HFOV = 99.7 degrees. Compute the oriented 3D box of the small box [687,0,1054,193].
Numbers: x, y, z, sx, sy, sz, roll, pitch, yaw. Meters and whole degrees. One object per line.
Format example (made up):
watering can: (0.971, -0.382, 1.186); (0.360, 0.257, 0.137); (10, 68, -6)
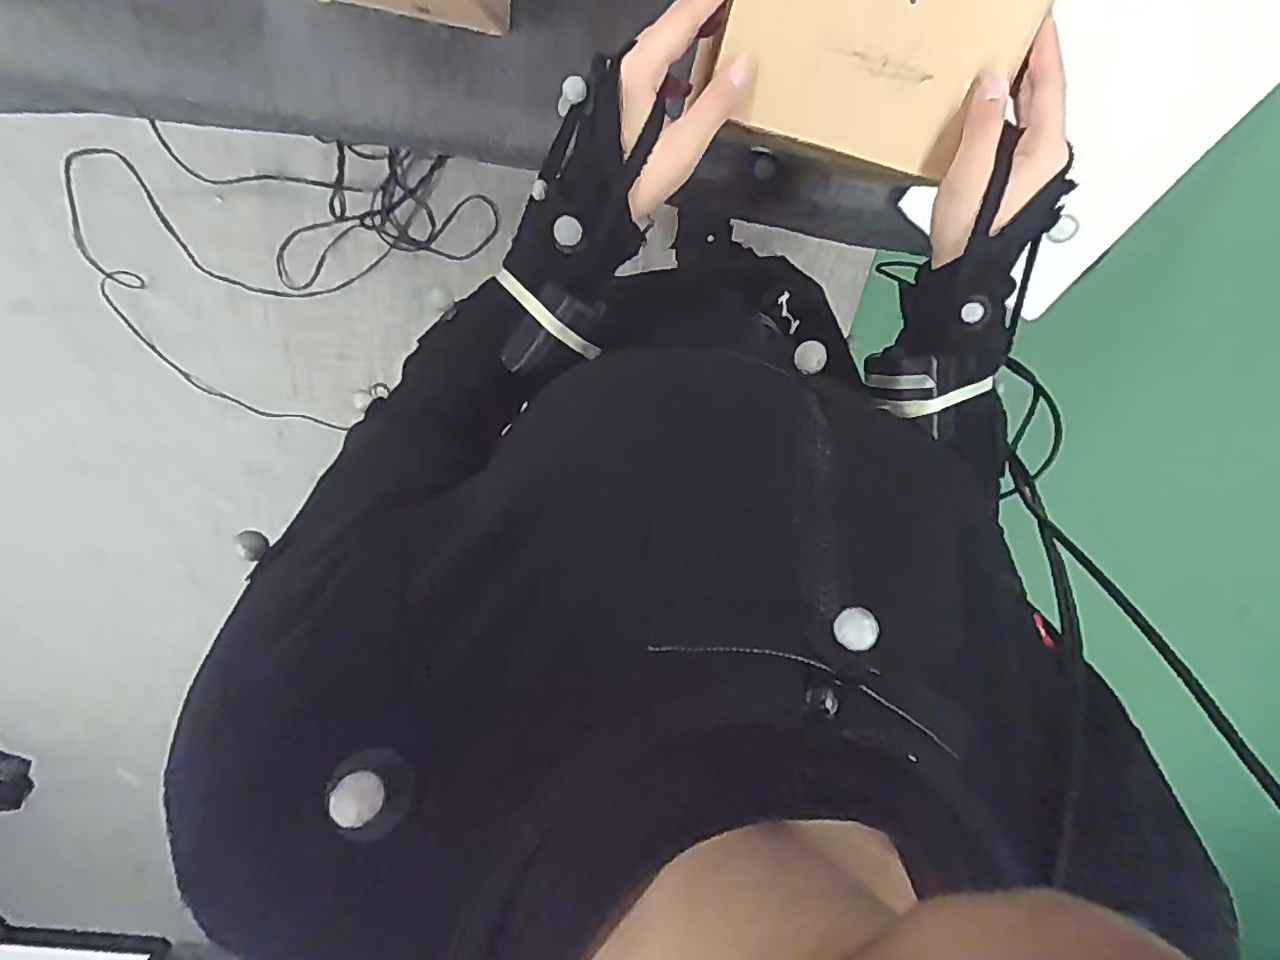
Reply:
small box: (0.132, -0.300, 0.341); (0.168, 0.176, 0.179); (11, 120, -7)
